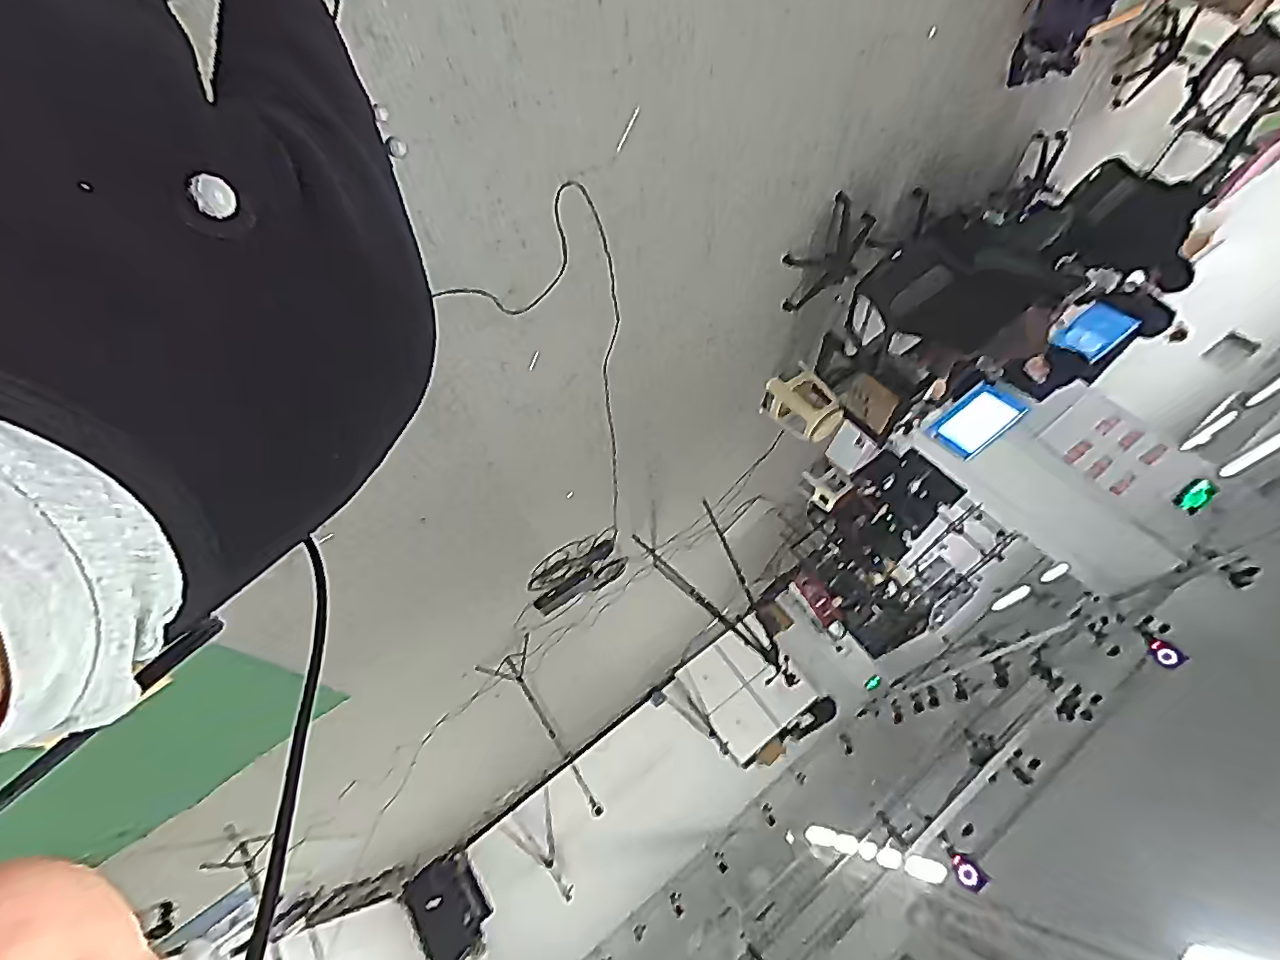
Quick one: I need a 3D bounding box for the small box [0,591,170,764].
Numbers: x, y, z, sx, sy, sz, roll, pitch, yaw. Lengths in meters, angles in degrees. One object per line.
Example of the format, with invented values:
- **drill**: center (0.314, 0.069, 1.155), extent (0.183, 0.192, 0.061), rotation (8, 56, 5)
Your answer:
- **small box**: center (-0.899, 0.307, 0.842), extent (0.179, 0.176, 0.168), rotation (-36, 153, -14)
